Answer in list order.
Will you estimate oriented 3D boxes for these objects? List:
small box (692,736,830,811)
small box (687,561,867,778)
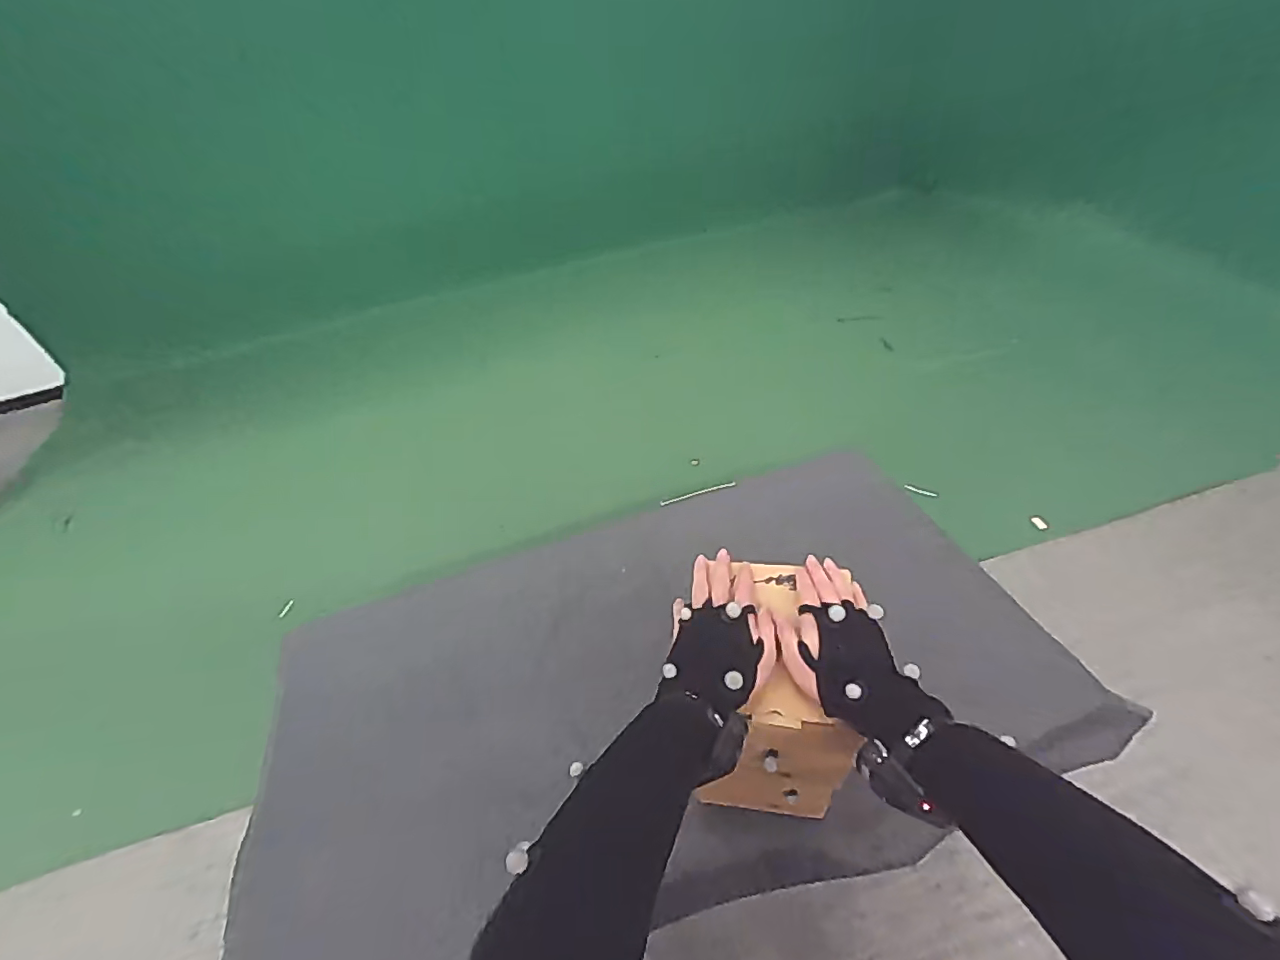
[{"bbox_3d":[0.164,0.321,0.729,0.168,0.176,0.179,1,44,11],"label":"small box"},{"bbox_3d":[0.147,0.214,0.608,0.168,0.176,0.179,2,47,11],"label":"small box"}]
